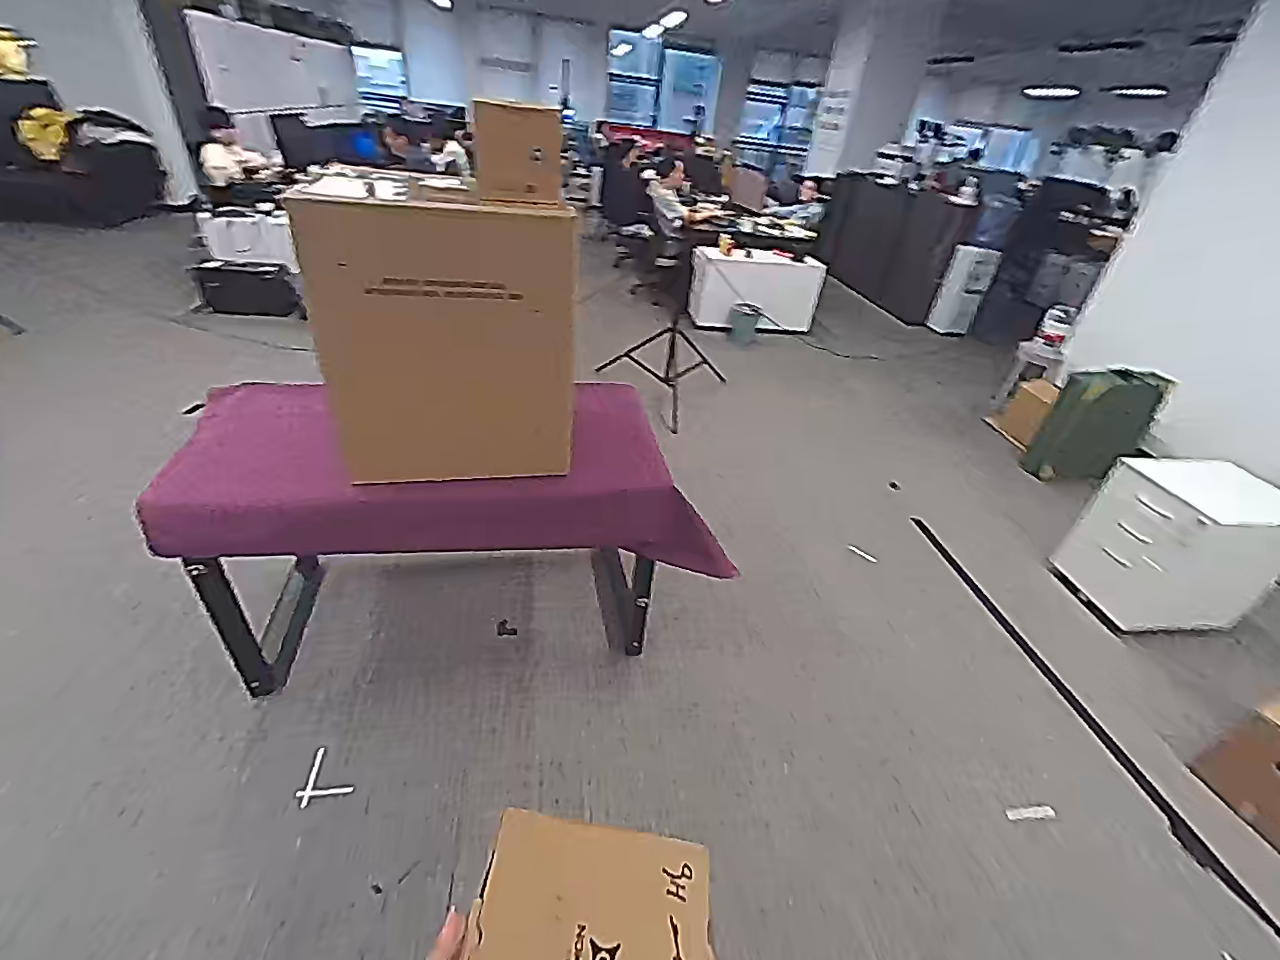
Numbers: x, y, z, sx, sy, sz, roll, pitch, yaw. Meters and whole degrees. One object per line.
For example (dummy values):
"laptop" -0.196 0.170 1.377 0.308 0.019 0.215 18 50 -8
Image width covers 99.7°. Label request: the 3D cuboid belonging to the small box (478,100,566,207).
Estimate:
"small box" -0.246 -0.676 1.123 0.168 0.176 0.179 -3 35 -15
